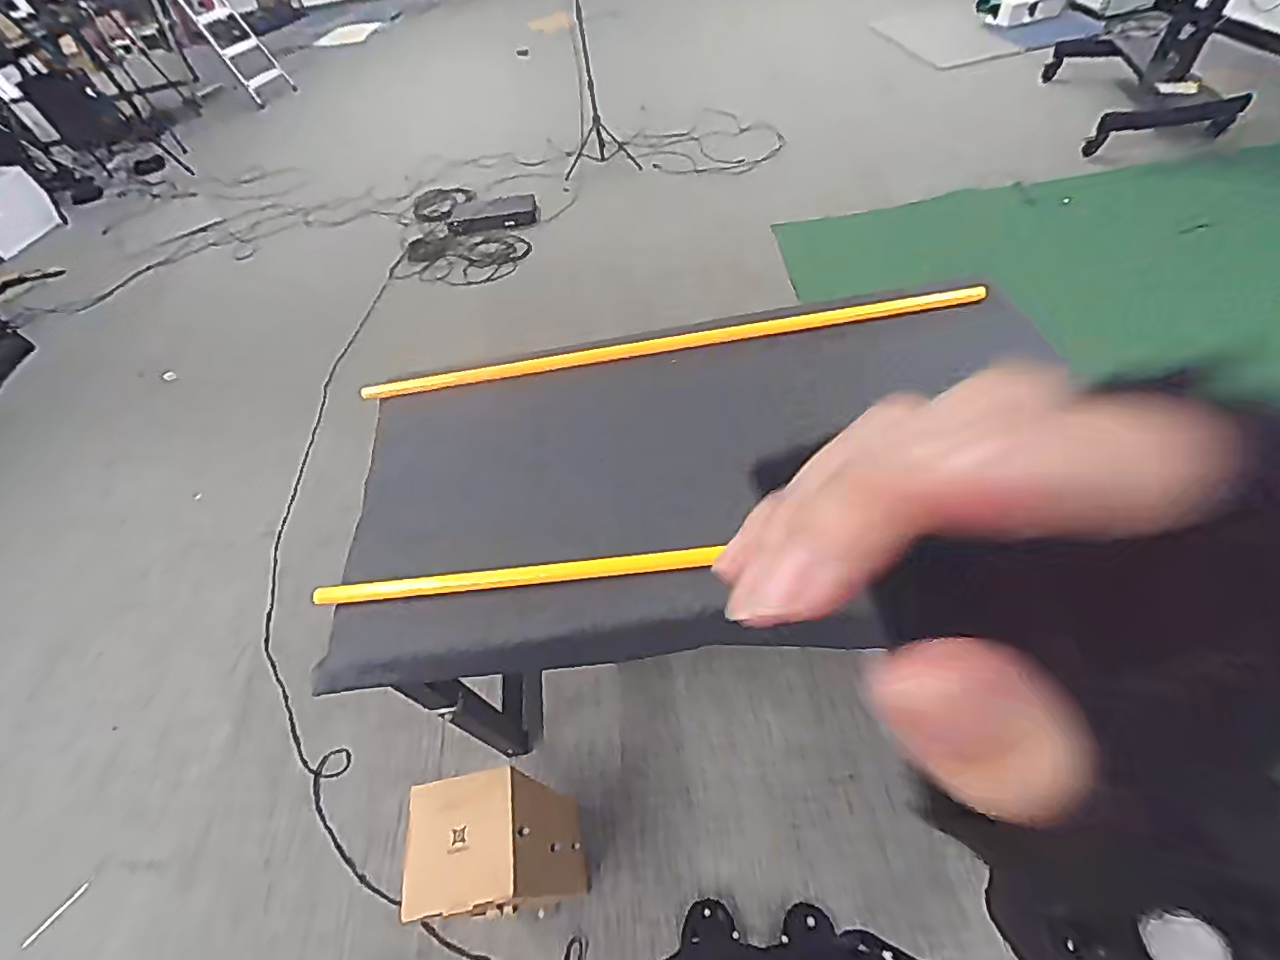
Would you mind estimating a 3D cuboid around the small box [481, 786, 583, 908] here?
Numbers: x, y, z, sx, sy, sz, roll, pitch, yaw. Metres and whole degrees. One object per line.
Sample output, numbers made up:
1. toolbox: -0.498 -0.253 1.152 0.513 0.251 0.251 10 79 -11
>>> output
1. small box: -0.225 0.774 1.138 0.168 0.176 0.179 -15 53 -2
